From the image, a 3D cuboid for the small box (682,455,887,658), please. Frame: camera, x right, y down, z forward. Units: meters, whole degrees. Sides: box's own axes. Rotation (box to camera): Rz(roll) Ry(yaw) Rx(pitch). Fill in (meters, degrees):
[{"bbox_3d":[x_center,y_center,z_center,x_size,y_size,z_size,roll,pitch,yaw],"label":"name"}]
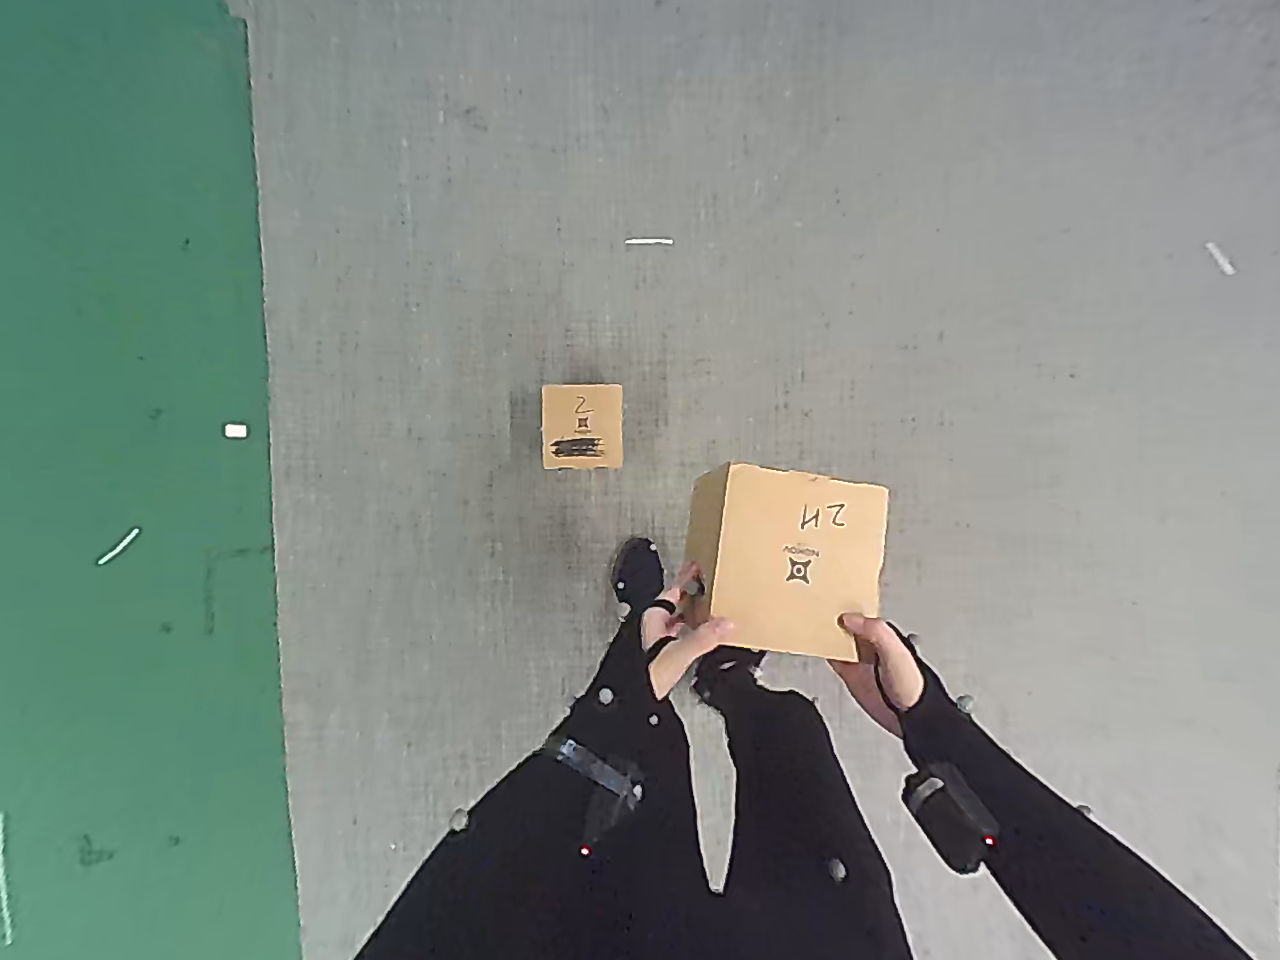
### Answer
[{"bbox_3d":[0.147,0.083,0.603,0.168,0.176,0.179,9,81,-5],"label":"small box"}]
